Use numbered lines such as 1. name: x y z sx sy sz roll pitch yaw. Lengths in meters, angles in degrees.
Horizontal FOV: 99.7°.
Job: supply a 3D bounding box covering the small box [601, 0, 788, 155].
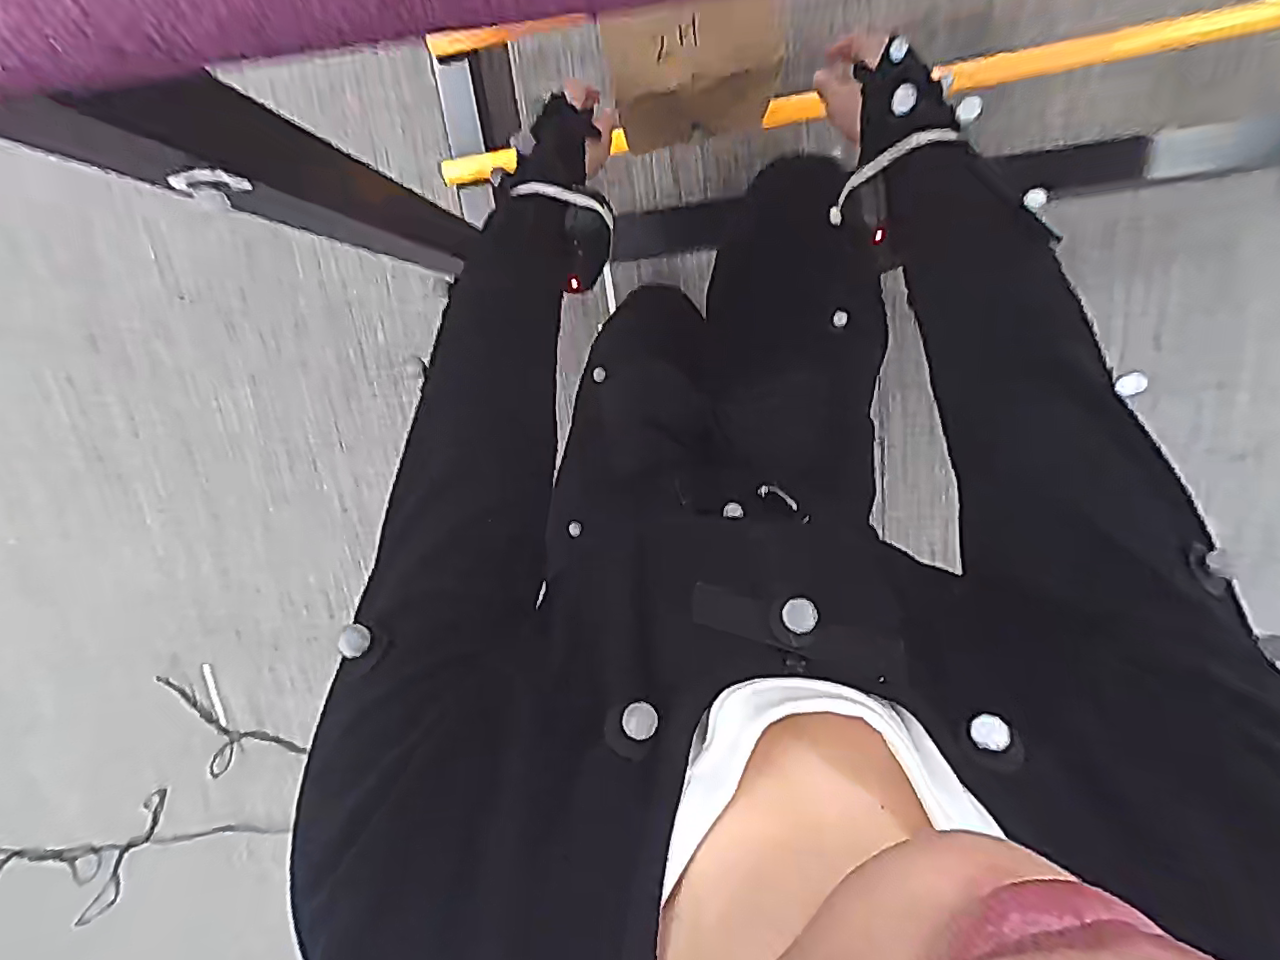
1. small box: 0.048 -0.476 0.564 0.168 0.176 0.179 -9 104 7
